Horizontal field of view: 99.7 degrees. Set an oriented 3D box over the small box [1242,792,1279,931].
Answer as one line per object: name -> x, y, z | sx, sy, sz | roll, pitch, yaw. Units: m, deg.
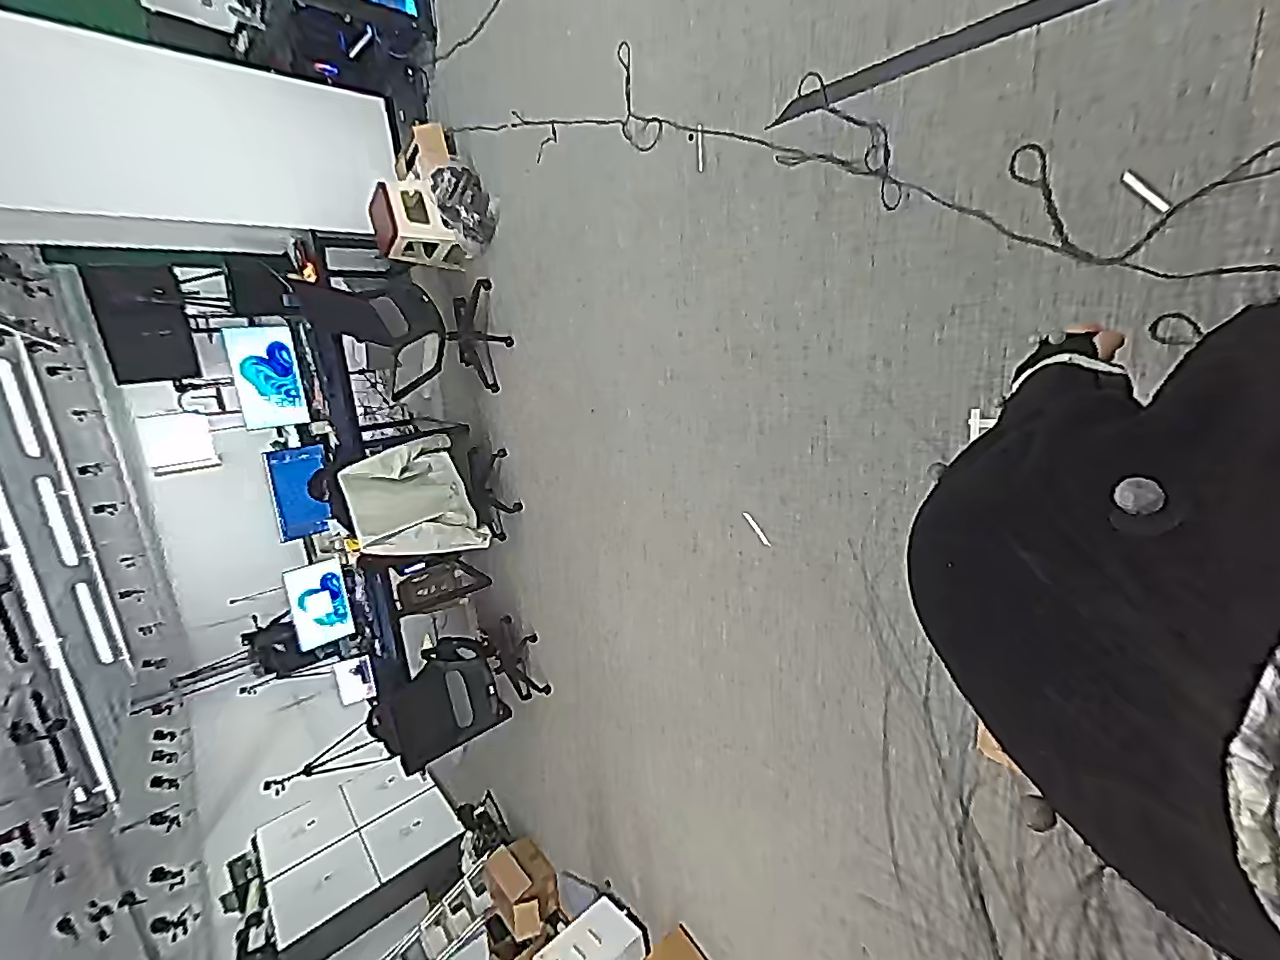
small box -> 1.261, 0.739, 1.015 | 0.168, 0.176, 0.179 | -1, 101, 49
